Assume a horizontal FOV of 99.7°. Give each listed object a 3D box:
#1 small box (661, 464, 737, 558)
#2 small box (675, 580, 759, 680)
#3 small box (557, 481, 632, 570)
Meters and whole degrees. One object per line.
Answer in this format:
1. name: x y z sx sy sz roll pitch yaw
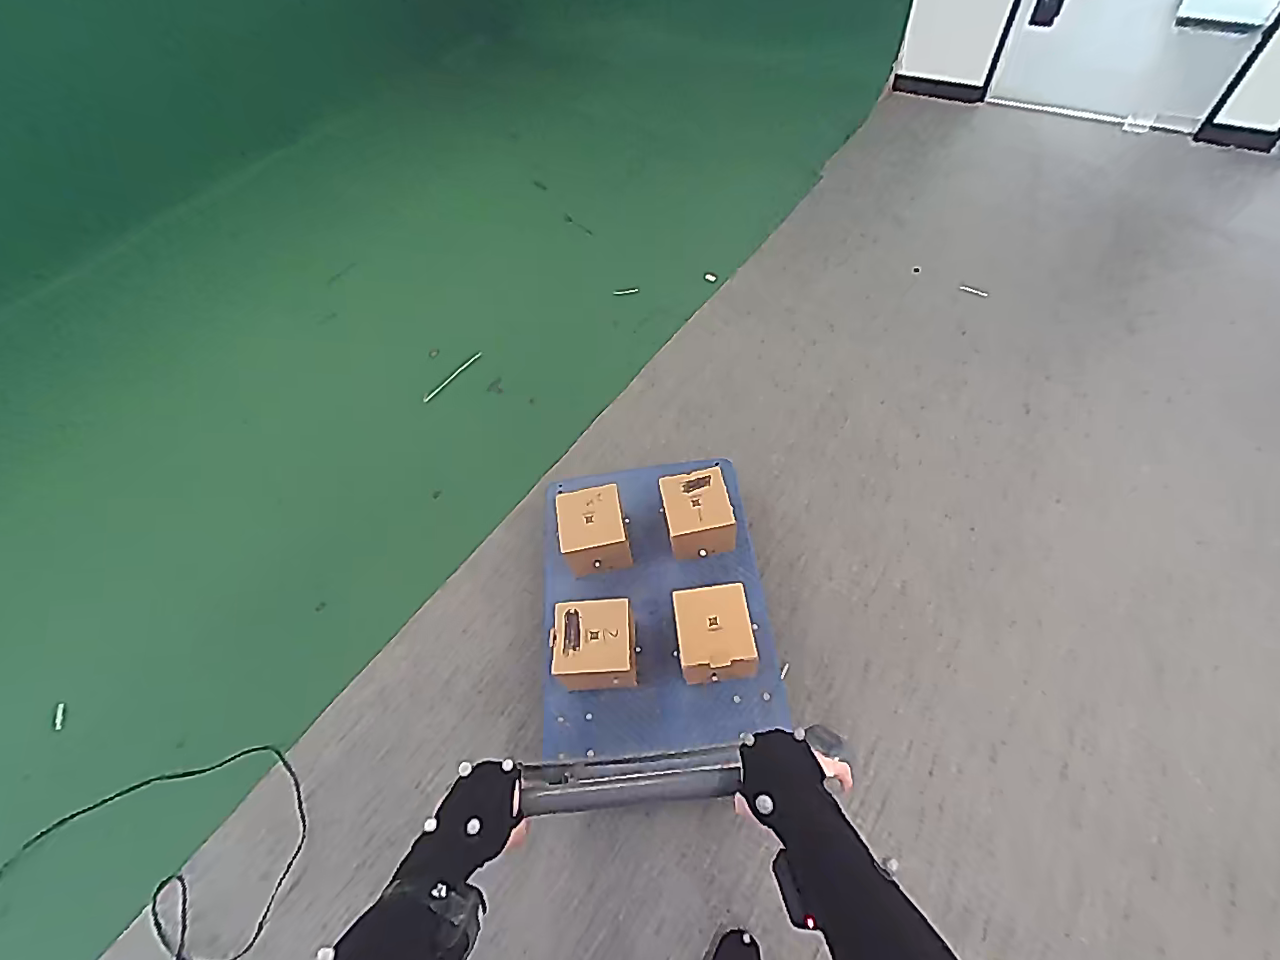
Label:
1. small box: 0.154 0.086 1.440 0.168 0.176 0.179 -12 58 1
2. small box: 0.174 0.356 1.272 0.168 0.176 0.179 -8 58 2
3. small box: -0.119 0.129 1.447 0.168 0.176 0.179 -10 57 0
